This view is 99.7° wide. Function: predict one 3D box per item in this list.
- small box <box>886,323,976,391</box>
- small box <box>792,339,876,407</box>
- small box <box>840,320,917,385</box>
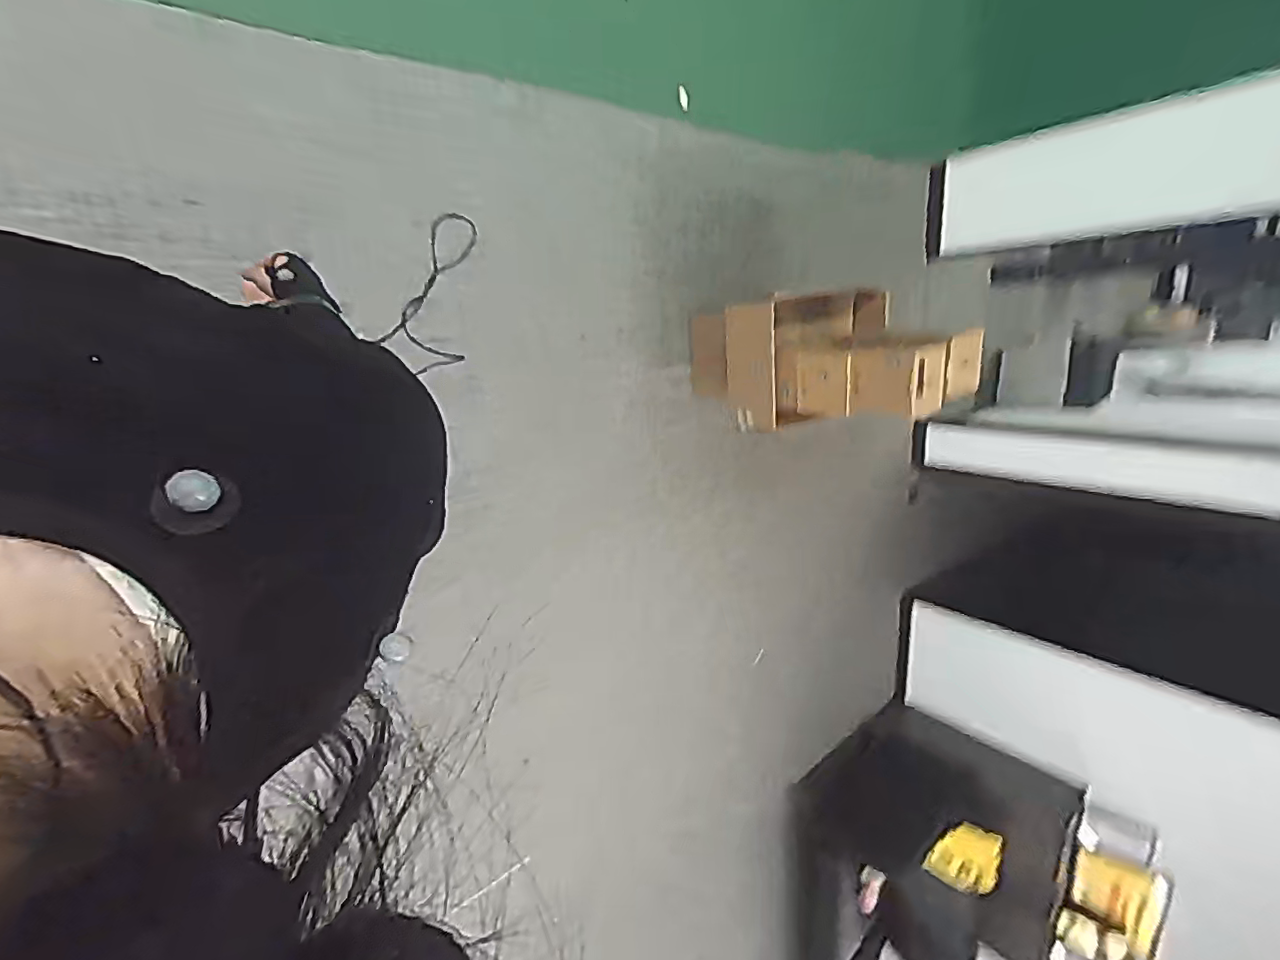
[{"bbox_3d":[0.829,-0.356,1.551,0.179,0.176,0.168,-19,113,-32],"label":"small box"},{"bbox_3d":[0.552,-0.309,1.550,0.179,0.176,0.168,-20,113,-35],"label":"small box"},{"bbox_3d":[0.733,-0.395,1.677,0.179,0.176,0.168,-23,114,-31],"label":"small box"}]
